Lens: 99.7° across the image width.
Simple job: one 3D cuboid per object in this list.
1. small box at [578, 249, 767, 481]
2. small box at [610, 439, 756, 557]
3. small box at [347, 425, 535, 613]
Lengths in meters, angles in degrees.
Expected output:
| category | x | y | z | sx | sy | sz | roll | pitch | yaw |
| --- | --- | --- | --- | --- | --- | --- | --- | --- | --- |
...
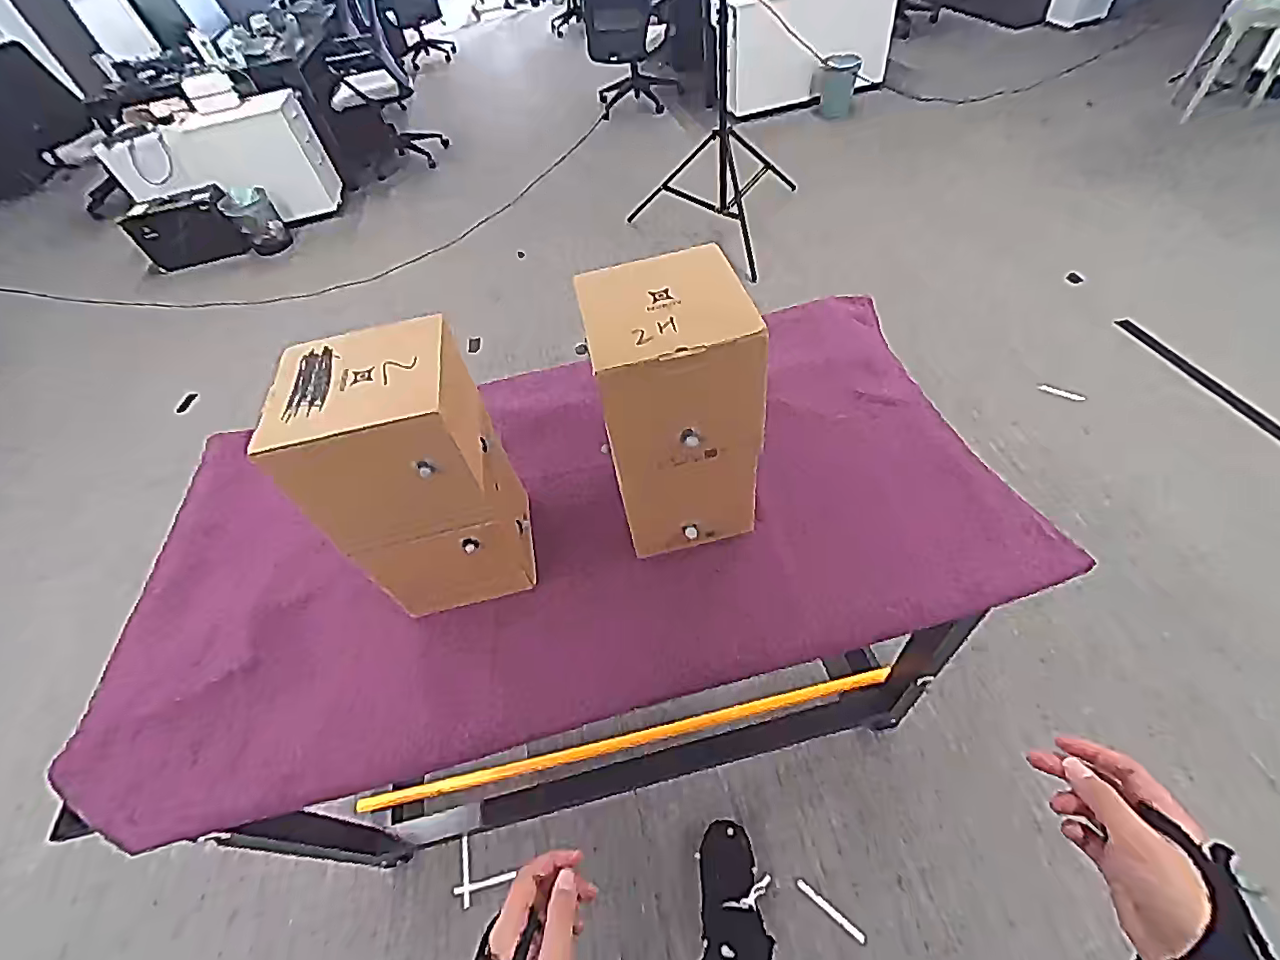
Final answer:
| category | x | y | z | sx | sy | sz | roll | pitch | yaw |
| --- | --- | --- | --- | --- | --- | --- | --- | --- | --- |
| small box | 0.034 | -0.127 | 0.611 | 0.168 | 0.176 | 0.179 | -14 | 50 | 0 |
| small box | 0.050 | -0.023 | 0.738 | 0.168 | 0.176 | 0.179 | -13 | 51 | -1 |
| small box | -0.254 | 0.057 | 0.725 | 0.179 | 0.176 | 0.168 | -14 | 50 | -3 |
